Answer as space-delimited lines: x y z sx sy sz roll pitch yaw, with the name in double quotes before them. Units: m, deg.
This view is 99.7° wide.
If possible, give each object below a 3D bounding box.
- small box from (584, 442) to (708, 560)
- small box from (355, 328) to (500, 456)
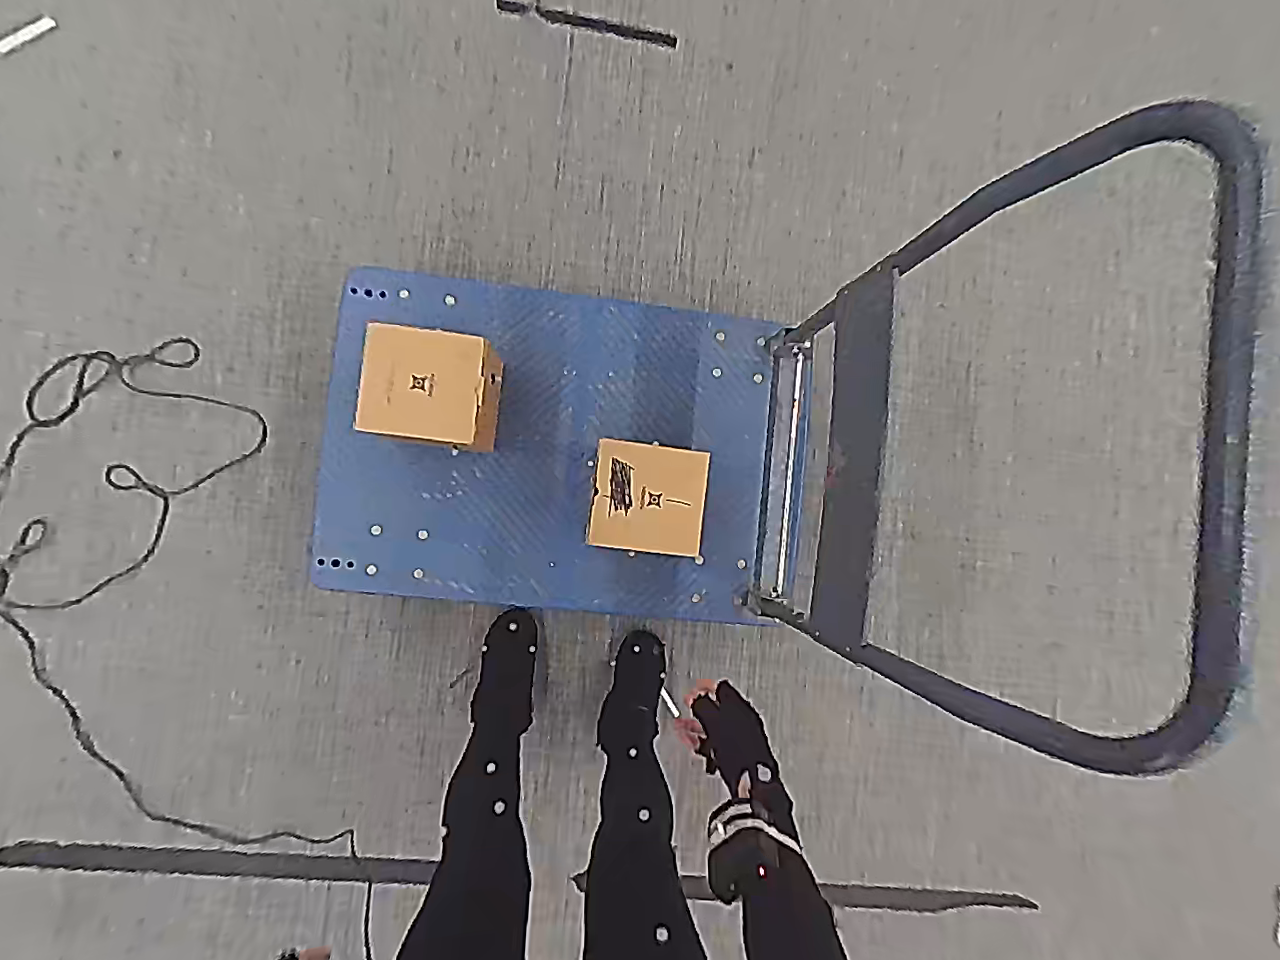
"small box" 0.002 0.037 0.913 0.179 0.176 0.168 8 87 -6
"small box" -0.335 -0.133 0.887 0.179 0.176 0.168 6 86 -5
